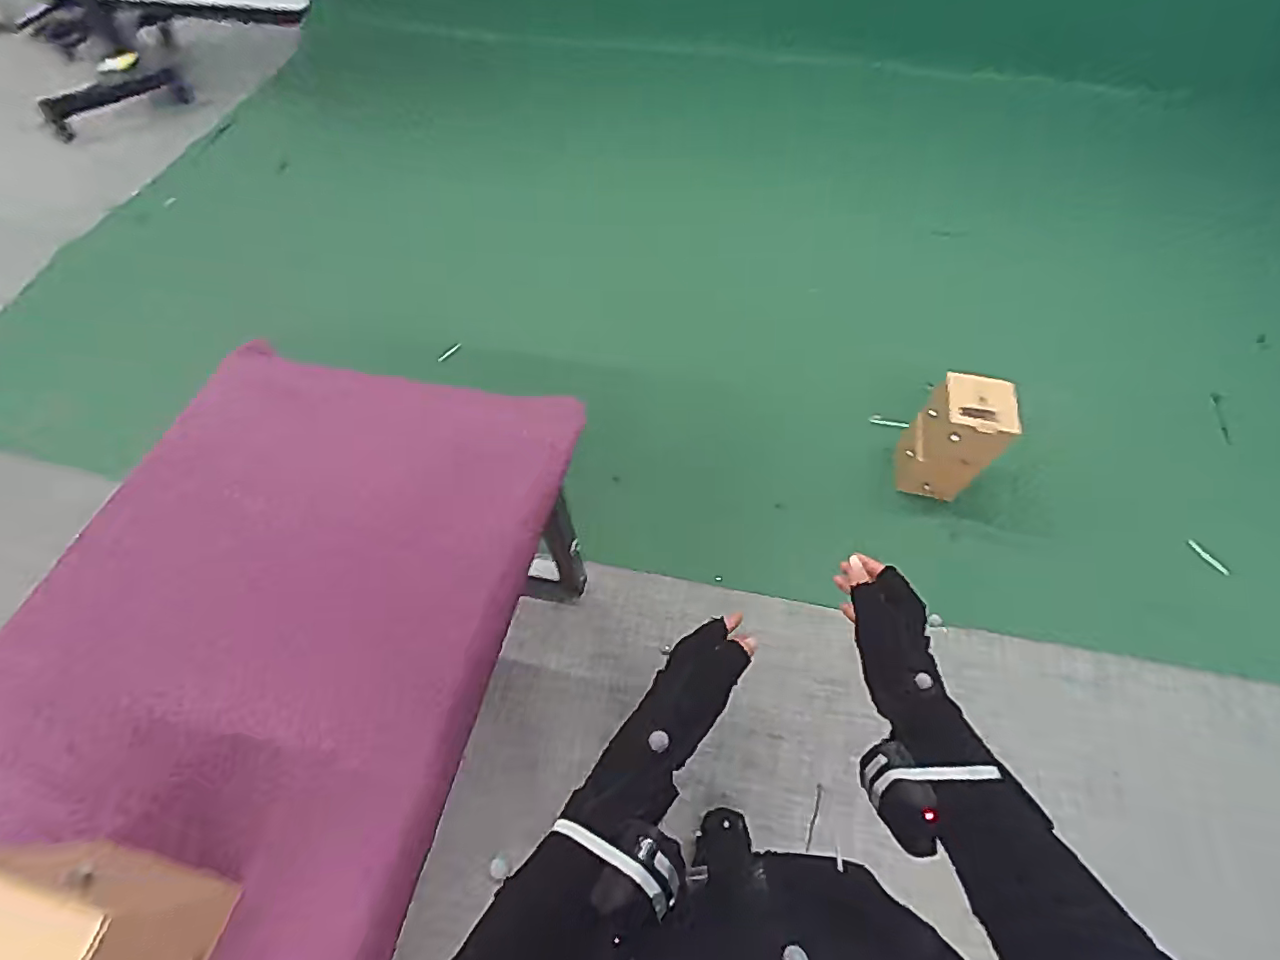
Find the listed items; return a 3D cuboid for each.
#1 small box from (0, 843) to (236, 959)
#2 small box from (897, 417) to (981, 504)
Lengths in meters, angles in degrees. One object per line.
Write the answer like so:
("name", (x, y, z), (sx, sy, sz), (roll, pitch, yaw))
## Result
("small box", (-0.514, 0.438, 0.471), (0.179, 0.176, 0.168), (10, 63, 5))
("small box", (0.872, -0.055, 1.591), (0.168, 0.176, 0.179), (12, 60, 8))
